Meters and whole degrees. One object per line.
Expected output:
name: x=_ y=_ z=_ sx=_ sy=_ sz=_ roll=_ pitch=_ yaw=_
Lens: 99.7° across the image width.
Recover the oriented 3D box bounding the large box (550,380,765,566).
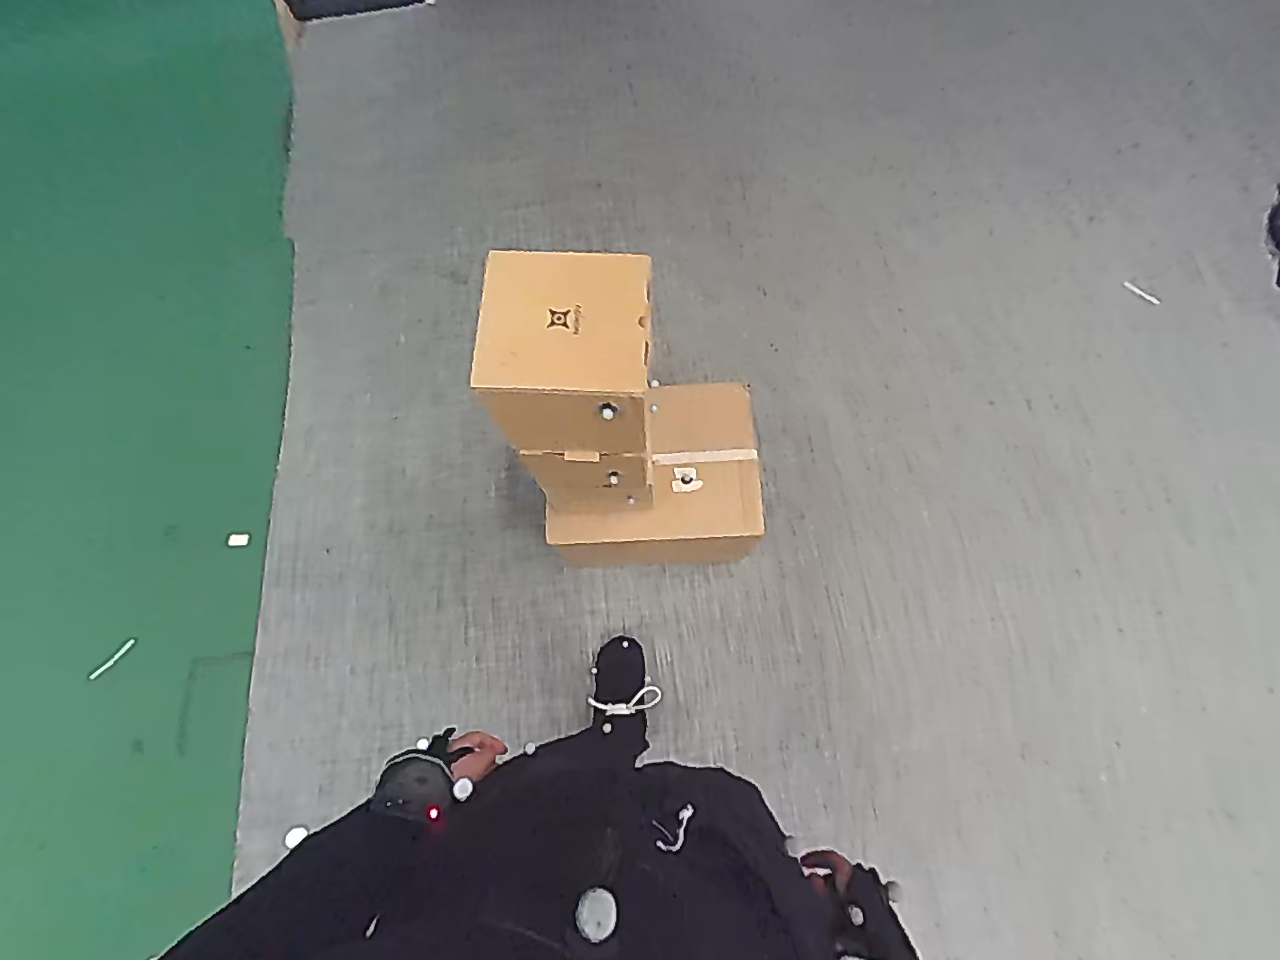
large box: x=0.028 y=0.002 z=1.175 sx=0.408 sy=0.320 sz=0.320 roll=-3 pitch=74 yaw=1

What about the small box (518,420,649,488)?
small box: x=-0.070 y=-0.091 z=0.782 sx=0.168 sy=0.176 sz=0.179 roll=1 pitch=72 yaw=0

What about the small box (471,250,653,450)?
small box: x=-0.076 y=-0.140 z=0.626 sx=0.179 sy=0.176 sz=0.168 roll=2 pitch=72 yaw=0
